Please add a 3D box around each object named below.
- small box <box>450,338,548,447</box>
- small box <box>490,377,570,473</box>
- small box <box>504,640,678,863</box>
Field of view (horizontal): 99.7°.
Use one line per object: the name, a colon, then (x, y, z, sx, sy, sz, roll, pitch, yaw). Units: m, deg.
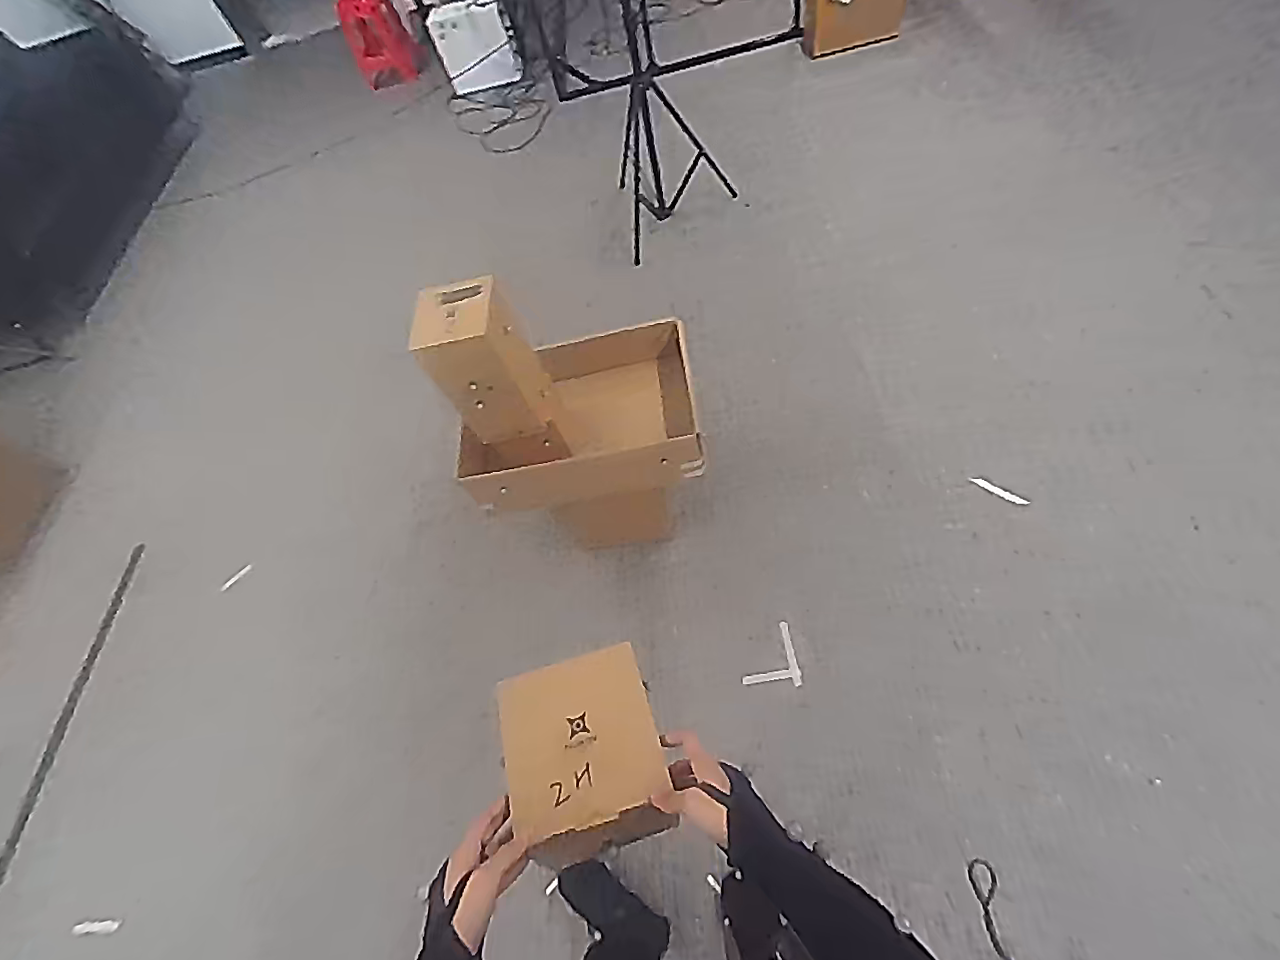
small box: (-0.326, -0.206, 1.288, 0.168, 0.176, 0.179, -10, 57, 9)
small box: (-0.292, -0.141, 1.435, 0.179, 0.176, 0.168, -15, 57, 6)
small box: (-0.056, 0.326, 0.648, 0.168, 0.176, 0.179, -14, 49, -6)
